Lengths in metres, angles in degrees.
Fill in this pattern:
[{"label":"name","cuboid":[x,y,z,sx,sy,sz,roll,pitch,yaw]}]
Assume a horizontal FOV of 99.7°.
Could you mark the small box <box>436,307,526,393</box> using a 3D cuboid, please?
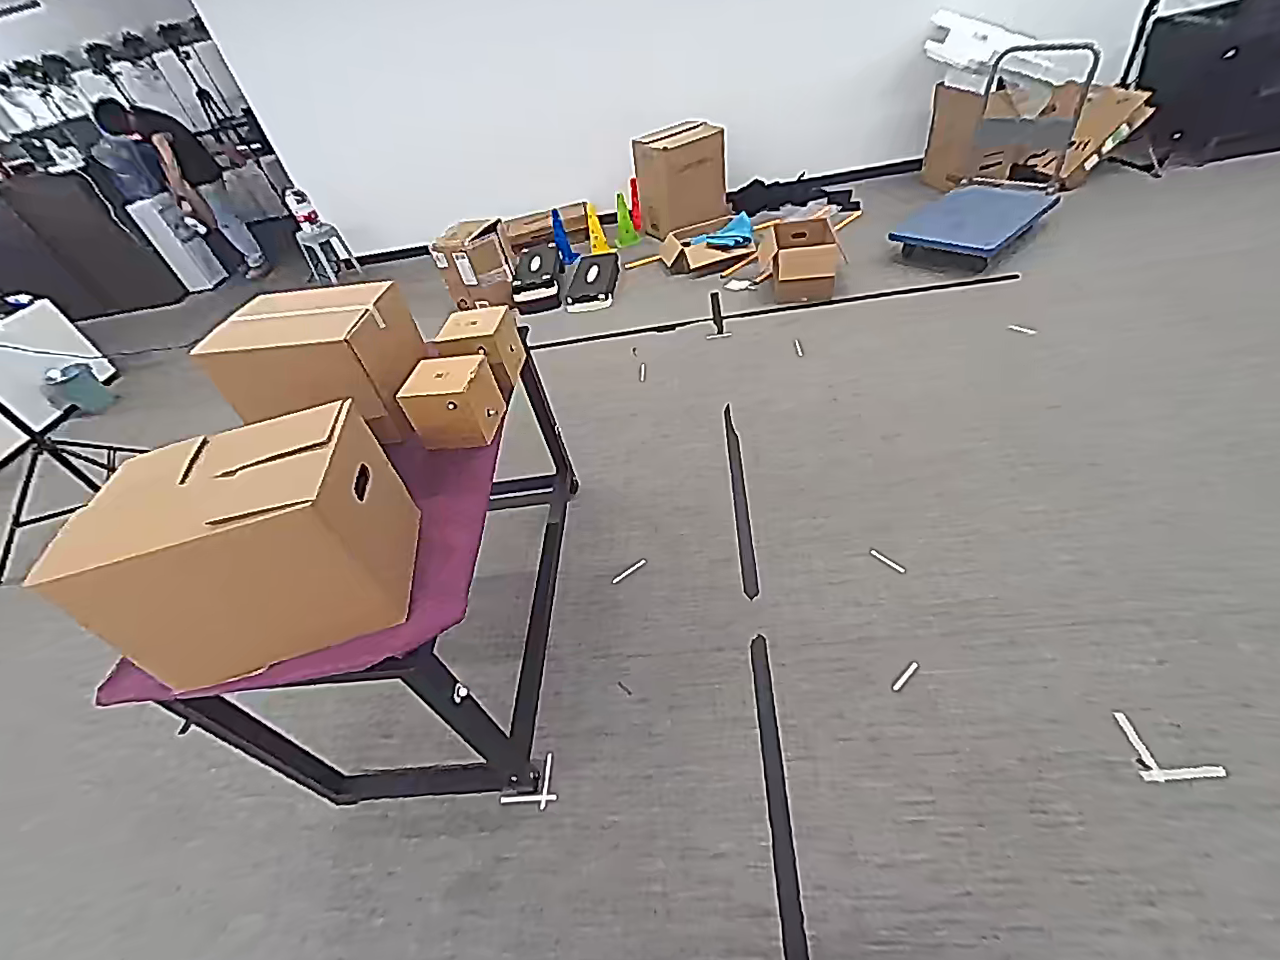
[{"label":"small box","cuboid":[-0.441,-0.368,1.536,0.179,0.176,0.168,-5,43,11]}]
